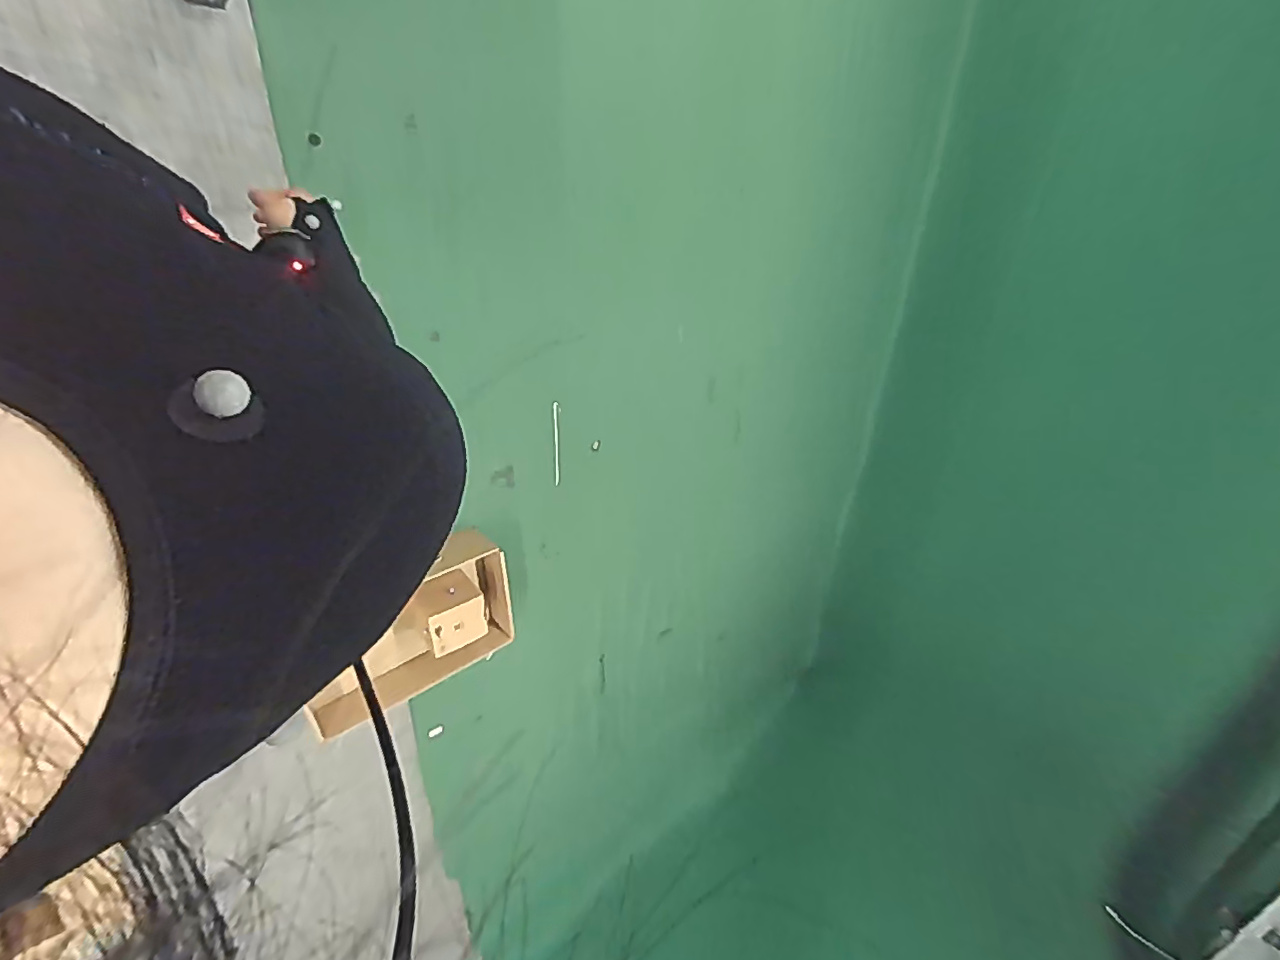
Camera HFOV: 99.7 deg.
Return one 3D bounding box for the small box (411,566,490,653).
[{"bbox_3d":[-0.594,0.399,1.698,0.179,0.176,0.168,-21,127,-36],"label":"small box"}]
